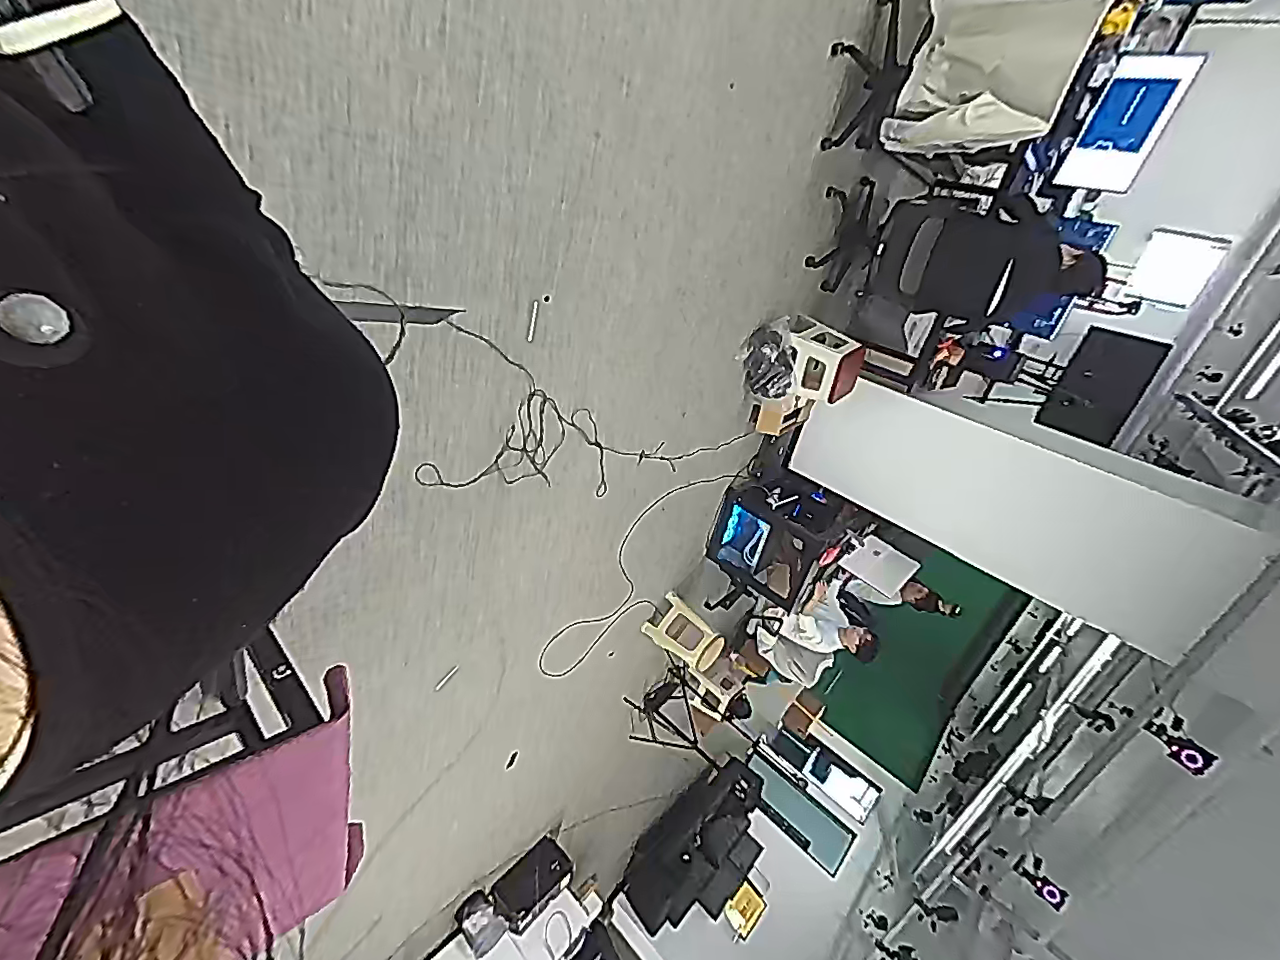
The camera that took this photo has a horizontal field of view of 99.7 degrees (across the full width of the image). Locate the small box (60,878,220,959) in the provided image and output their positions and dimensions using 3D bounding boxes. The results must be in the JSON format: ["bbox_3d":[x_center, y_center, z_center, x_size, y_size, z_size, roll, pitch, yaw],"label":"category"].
[{"bbox_3d":[-0.806,0.810,0.881,0.168,0.176,0.179,-13,127,-49],"label":"small box"}]
